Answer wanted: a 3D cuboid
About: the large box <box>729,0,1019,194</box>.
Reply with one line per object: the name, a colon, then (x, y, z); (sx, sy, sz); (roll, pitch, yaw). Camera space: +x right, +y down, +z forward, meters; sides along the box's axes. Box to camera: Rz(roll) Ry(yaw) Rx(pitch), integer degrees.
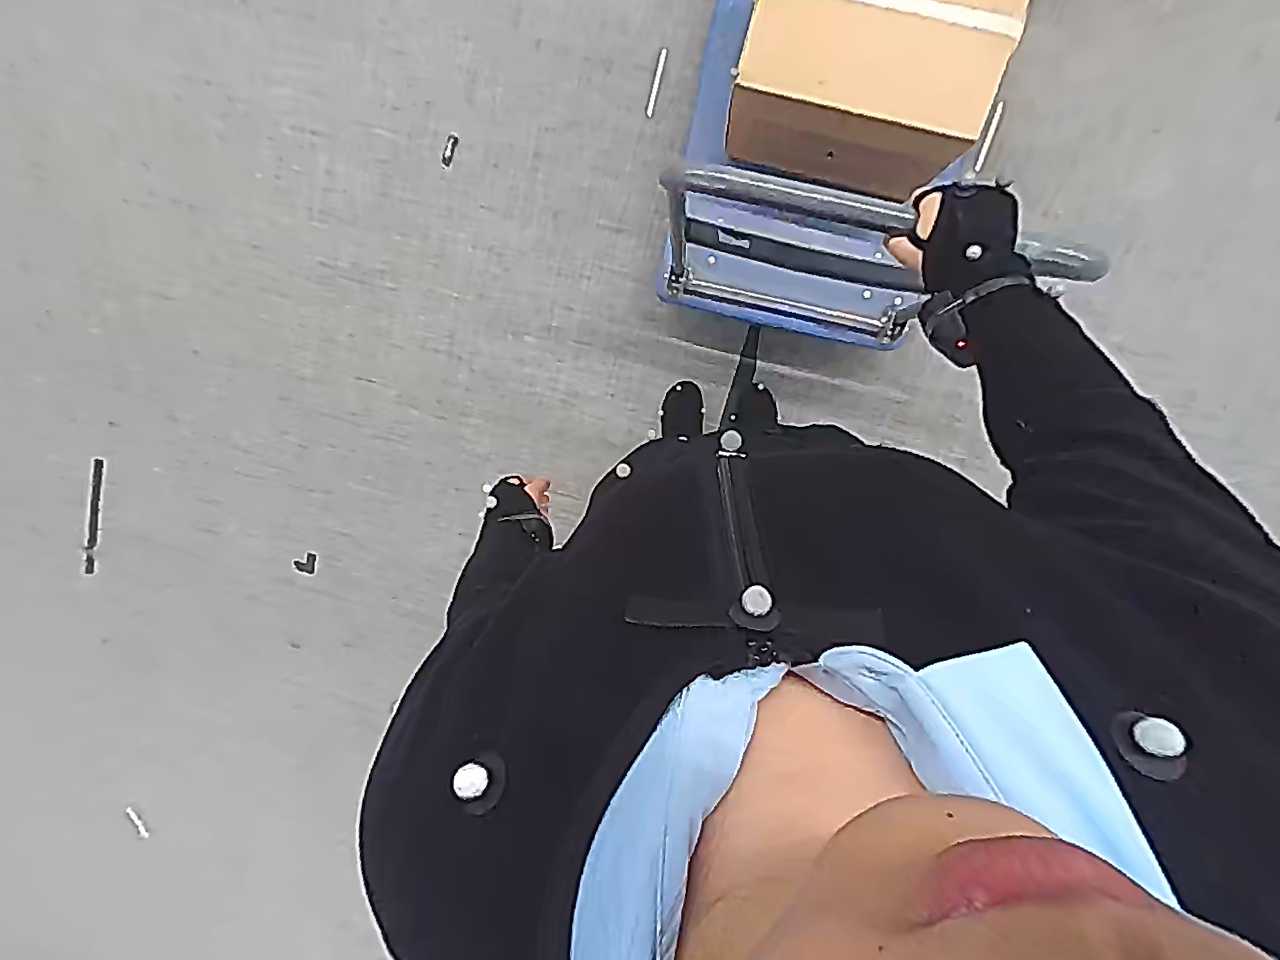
large box: (0.404, -0.776, 1.003); (0.408, 0.320, 0.320); (15, 101, 4)
